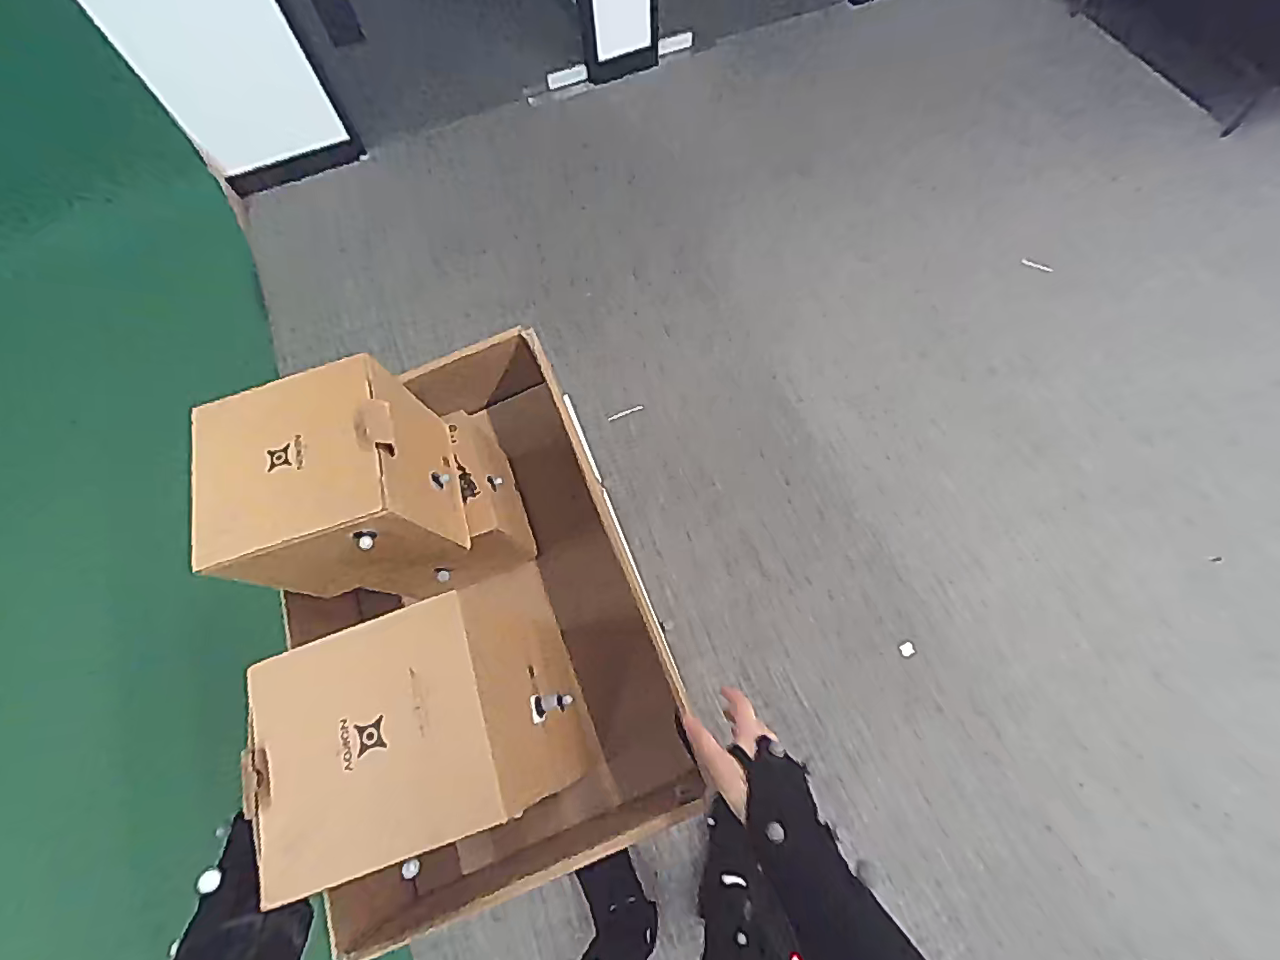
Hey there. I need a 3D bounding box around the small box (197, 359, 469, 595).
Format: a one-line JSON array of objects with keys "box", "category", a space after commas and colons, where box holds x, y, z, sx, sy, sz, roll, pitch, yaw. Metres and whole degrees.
[{"box": [-0.303, 0.009, 0.558, 0.179, 0.176, 0.168, -18, 69, 0], "category": "small box"}]

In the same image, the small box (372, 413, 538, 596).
[{"box": [-0.258, 0.044, 0.714, 0.179, 0.176, 0.168, -22, 71, 0], "category": "small box"}]

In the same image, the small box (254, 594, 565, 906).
[{"box": [-0.184, 0.216, 0.467, 0.179, 0.176, 0.168, -21, 69, -1], "category": "small box"}]
